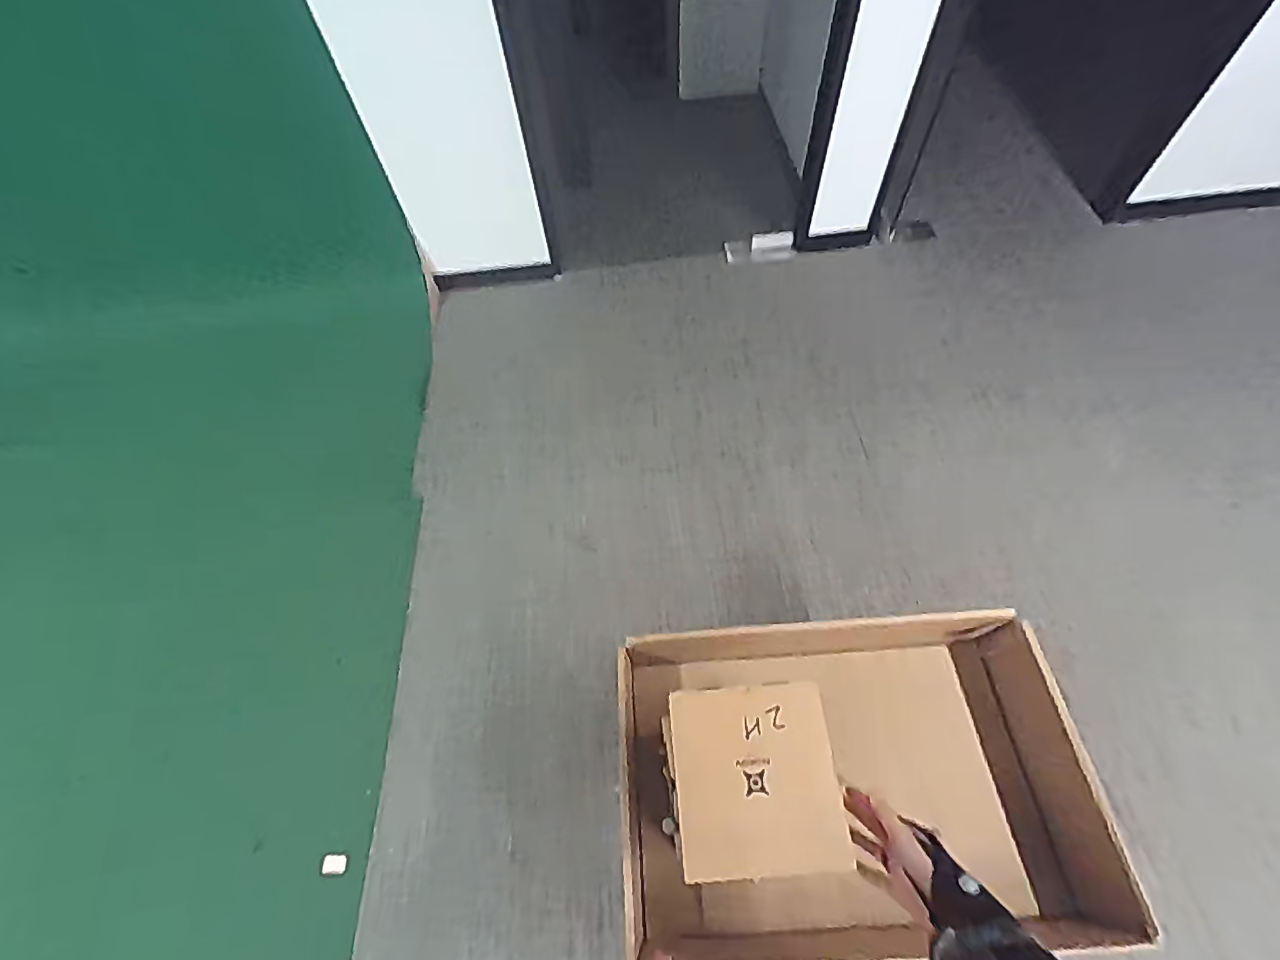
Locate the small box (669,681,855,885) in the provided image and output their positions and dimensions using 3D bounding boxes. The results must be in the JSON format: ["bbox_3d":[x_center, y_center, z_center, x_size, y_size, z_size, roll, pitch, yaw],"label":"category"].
[{"bbox_3d":[0.123,0.339,0.615,0.168,0.176,0.179,-5,58,2],"label":"small box"}]
